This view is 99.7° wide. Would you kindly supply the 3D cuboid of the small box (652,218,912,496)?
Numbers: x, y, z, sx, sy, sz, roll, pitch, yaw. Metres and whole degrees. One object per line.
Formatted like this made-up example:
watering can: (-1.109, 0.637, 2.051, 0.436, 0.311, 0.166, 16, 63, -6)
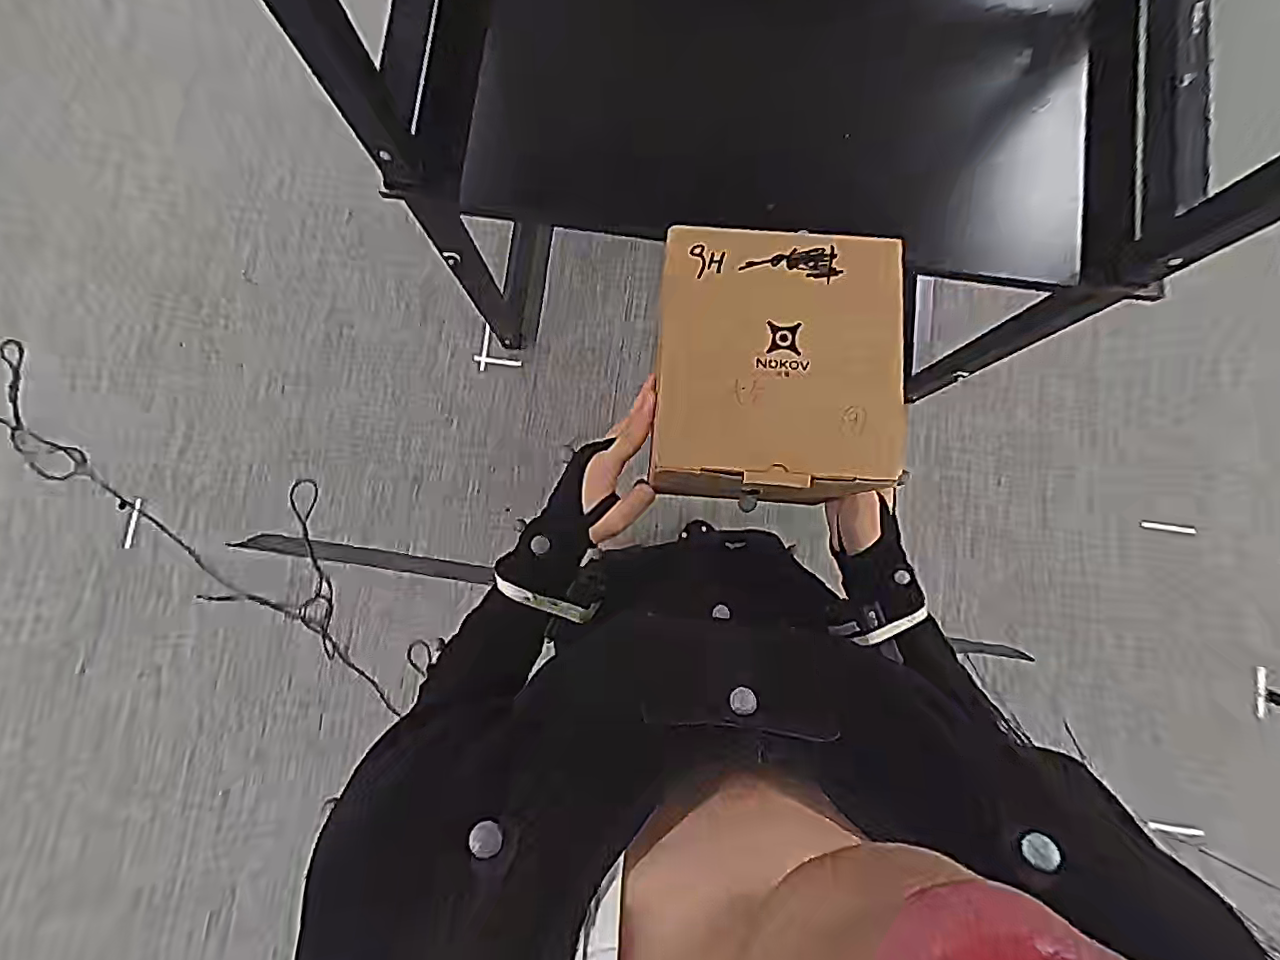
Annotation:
small box: (0.097, -0.080, 0.440, 0.168, 0.176, 0.179, 3, 84, -1)
